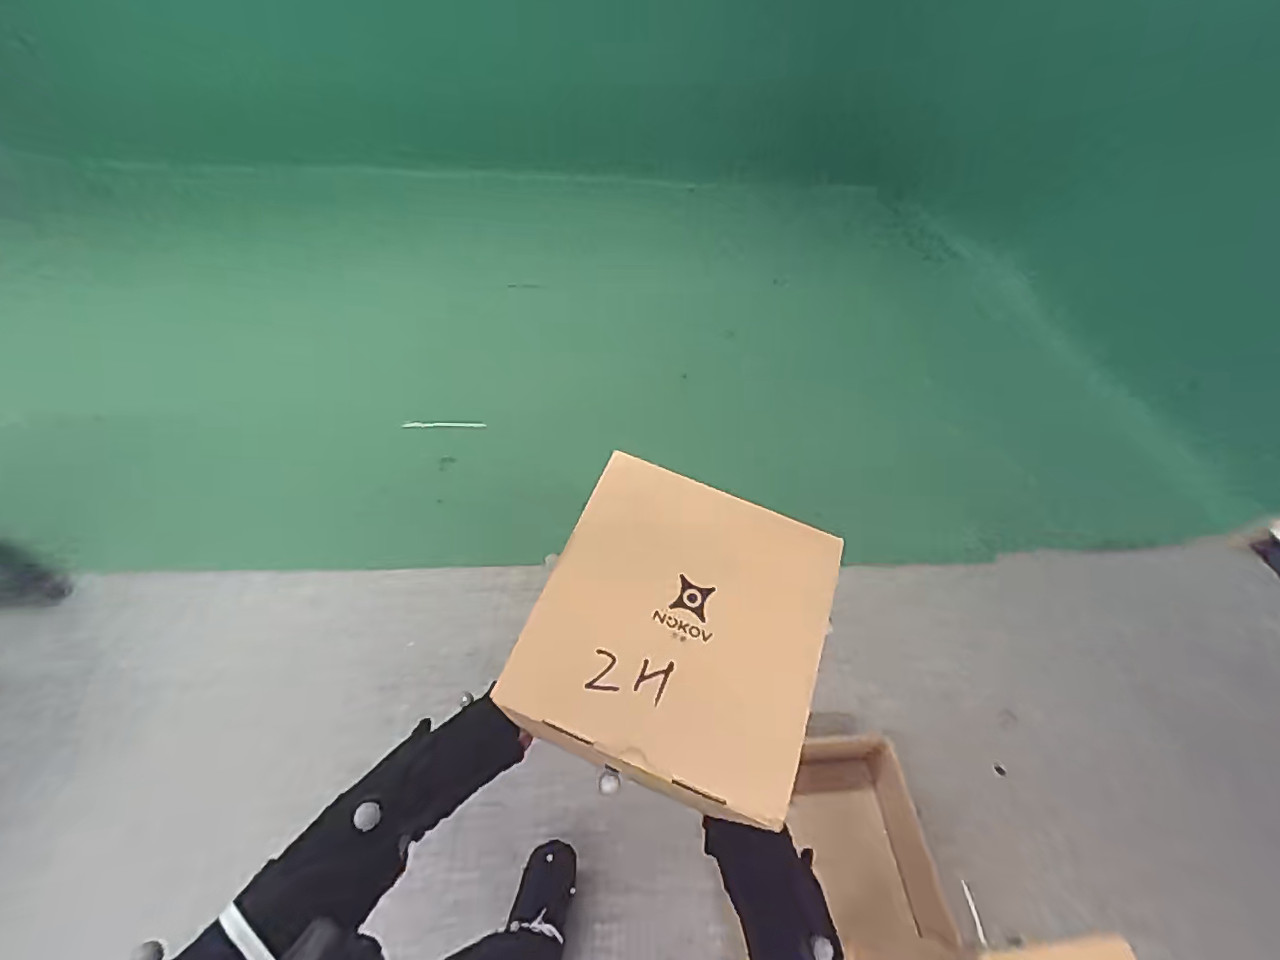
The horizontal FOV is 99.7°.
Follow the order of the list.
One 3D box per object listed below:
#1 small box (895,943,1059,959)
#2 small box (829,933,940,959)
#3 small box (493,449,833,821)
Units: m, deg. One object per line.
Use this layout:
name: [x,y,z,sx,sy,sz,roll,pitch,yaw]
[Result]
small box: [0.465,0.735,0.725,0.179,0.176,0.168,0,49,-3]
small box: [0.459,0.945,0.978,0.179,0.176,0.168,-4,47,-7]
small box: [0.014,0.114,0.390,0.168,0.176,0.179,21,60,5]
